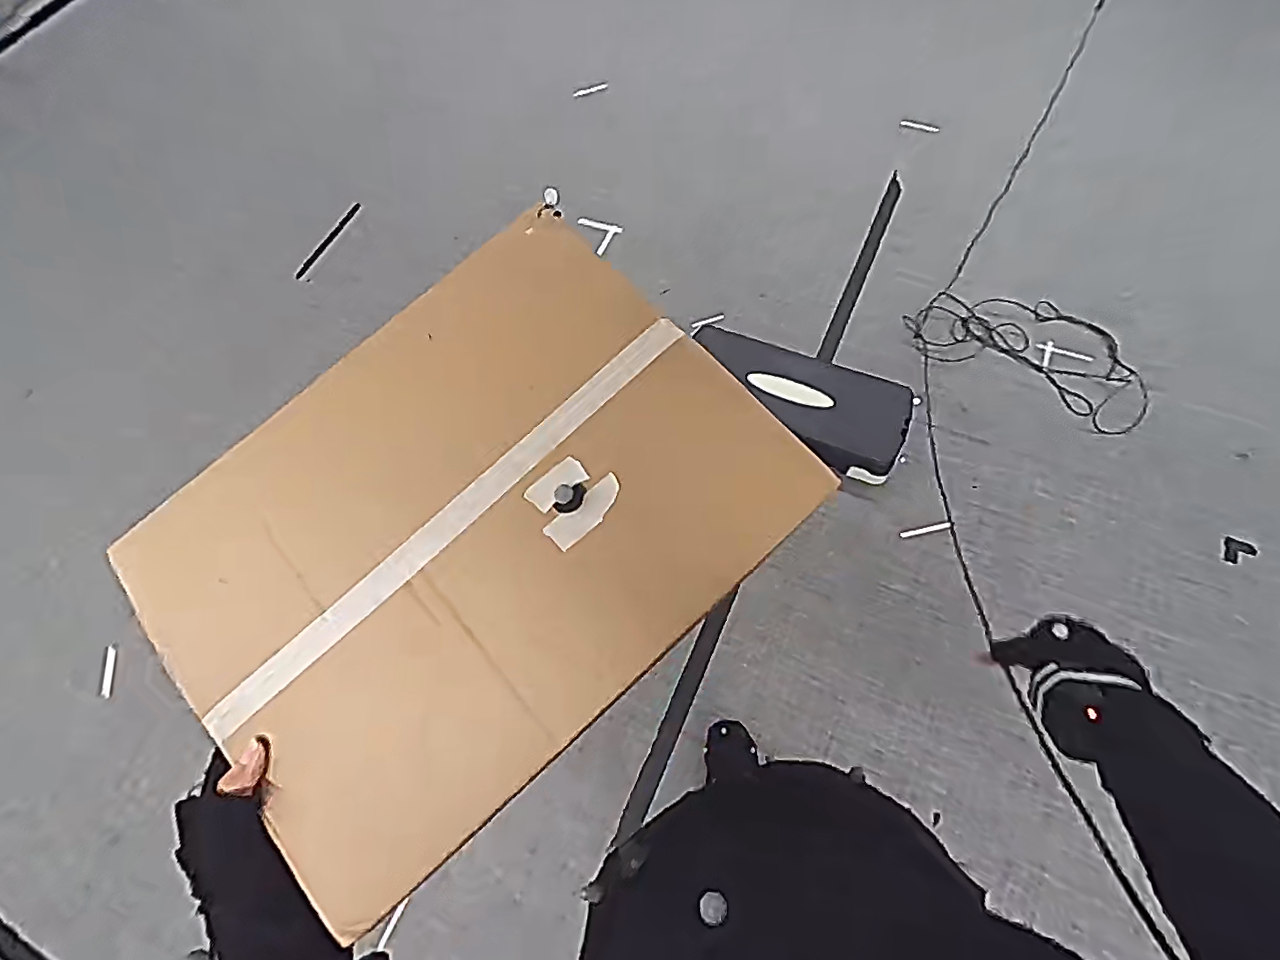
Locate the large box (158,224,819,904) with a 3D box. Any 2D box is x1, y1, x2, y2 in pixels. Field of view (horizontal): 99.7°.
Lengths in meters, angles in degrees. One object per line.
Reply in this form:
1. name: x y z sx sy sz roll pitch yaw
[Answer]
1. large box: -0.106 0.063 0.530 0.408 0.320 0.320 -42 76 -6
